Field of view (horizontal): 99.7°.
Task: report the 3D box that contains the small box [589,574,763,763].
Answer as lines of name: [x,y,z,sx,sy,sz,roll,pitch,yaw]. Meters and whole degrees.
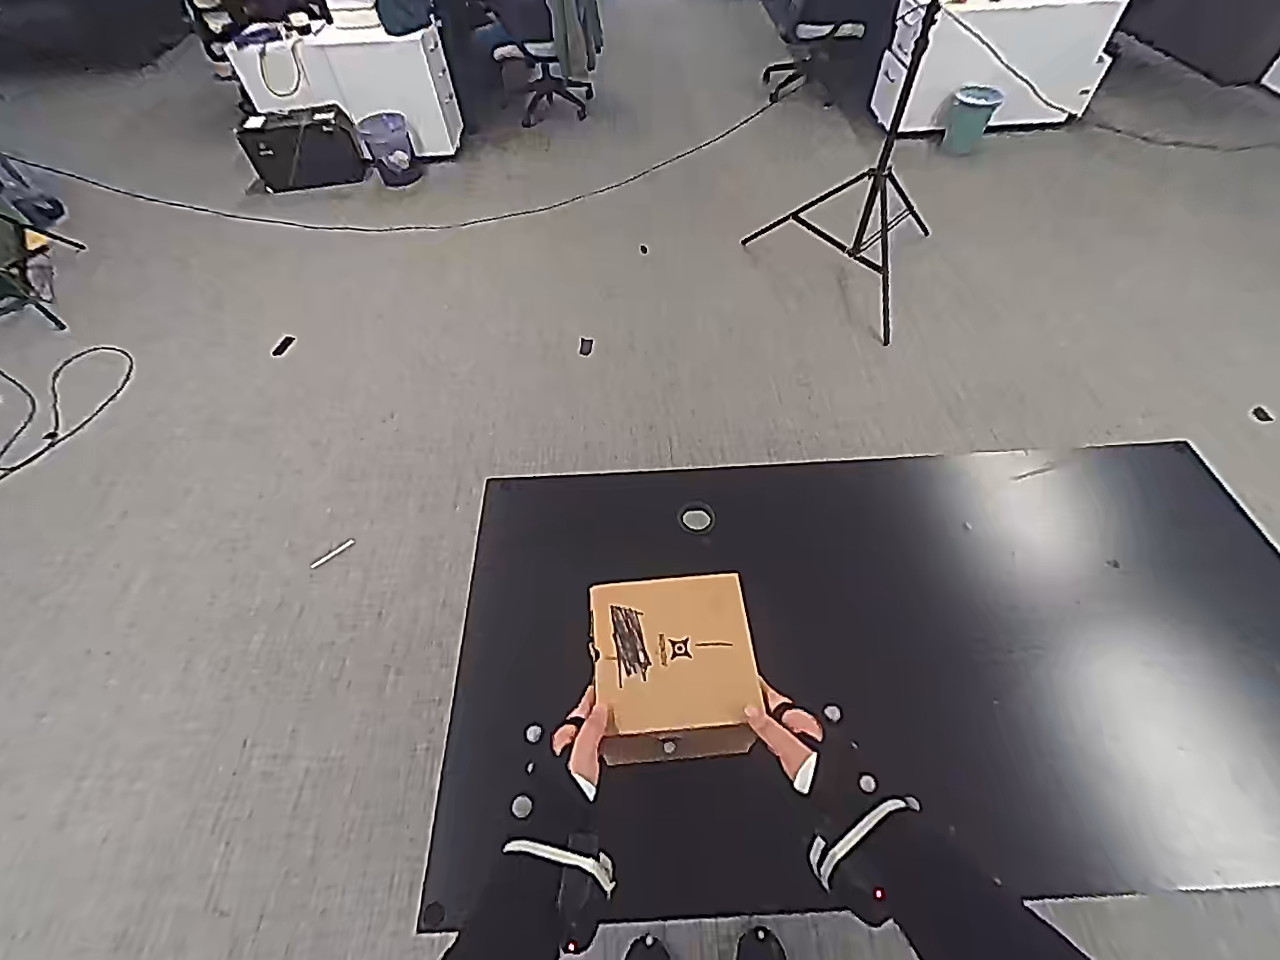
small box: [0.037,0.232,0.653,0.179,0.176,0.168,-5,53,-2]
